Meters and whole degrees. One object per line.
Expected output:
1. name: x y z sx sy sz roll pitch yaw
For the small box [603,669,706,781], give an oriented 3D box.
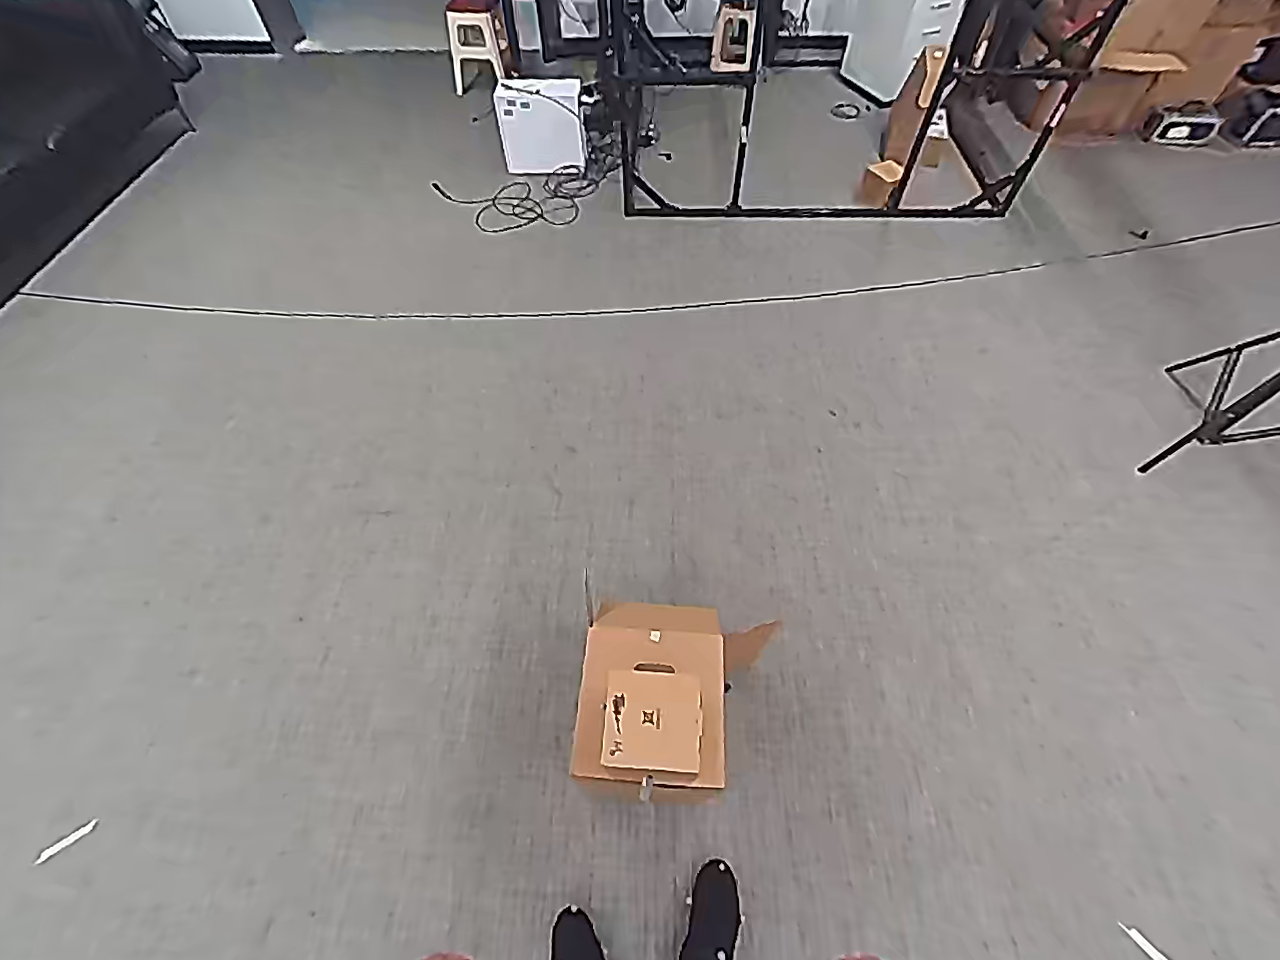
1. small box: 0.028 0.474 1.037 0.179 0.176 0.168 4 57 3
